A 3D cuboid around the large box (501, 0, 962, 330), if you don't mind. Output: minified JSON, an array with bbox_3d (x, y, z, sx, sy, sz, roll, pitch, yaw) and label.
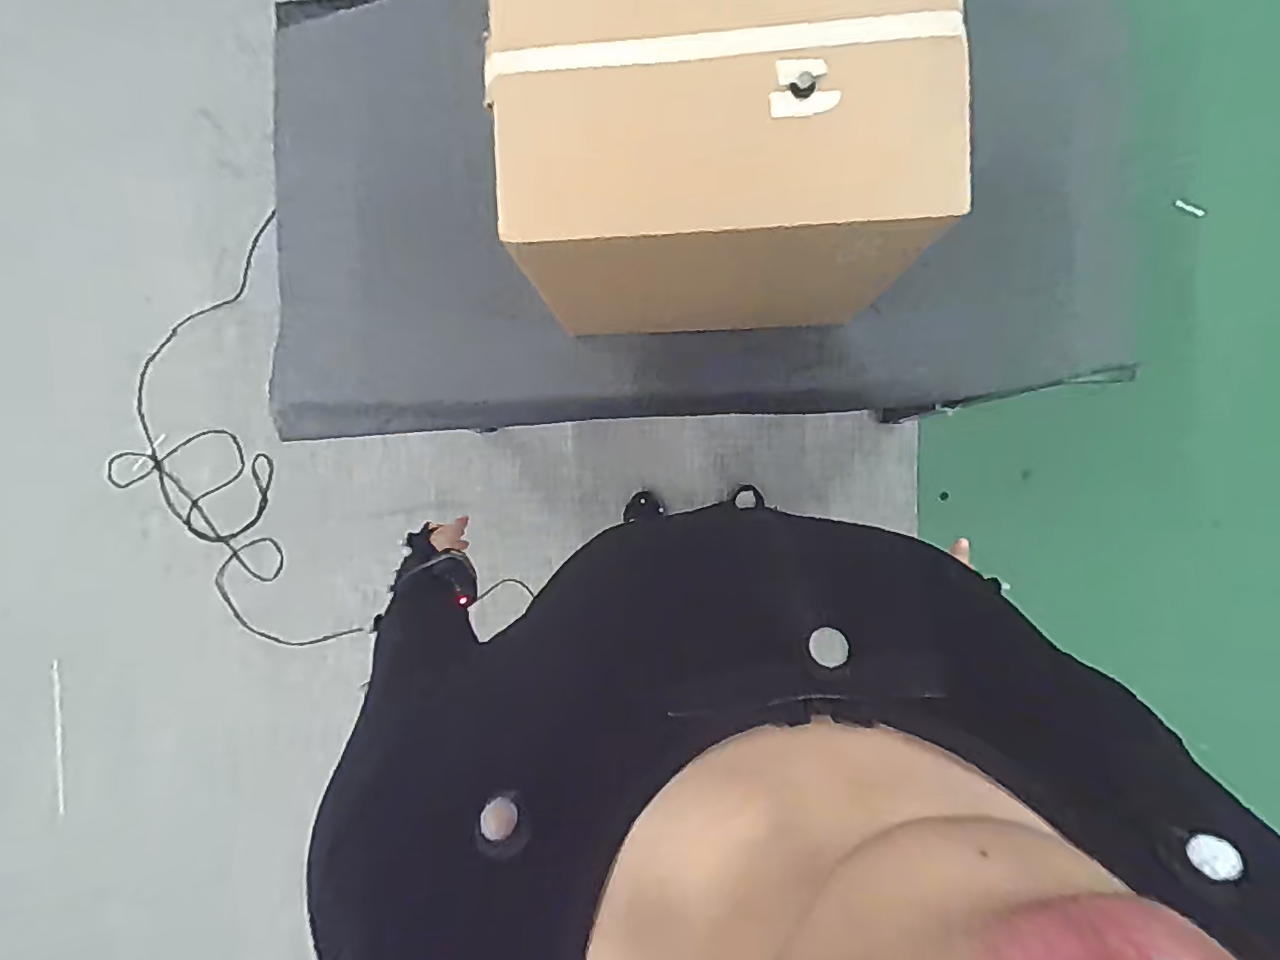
[{"bbox_3d":[0.082,-0.380,0.630,0.408,0.320,0.320,-2,90,4],"label":"large box"}]
